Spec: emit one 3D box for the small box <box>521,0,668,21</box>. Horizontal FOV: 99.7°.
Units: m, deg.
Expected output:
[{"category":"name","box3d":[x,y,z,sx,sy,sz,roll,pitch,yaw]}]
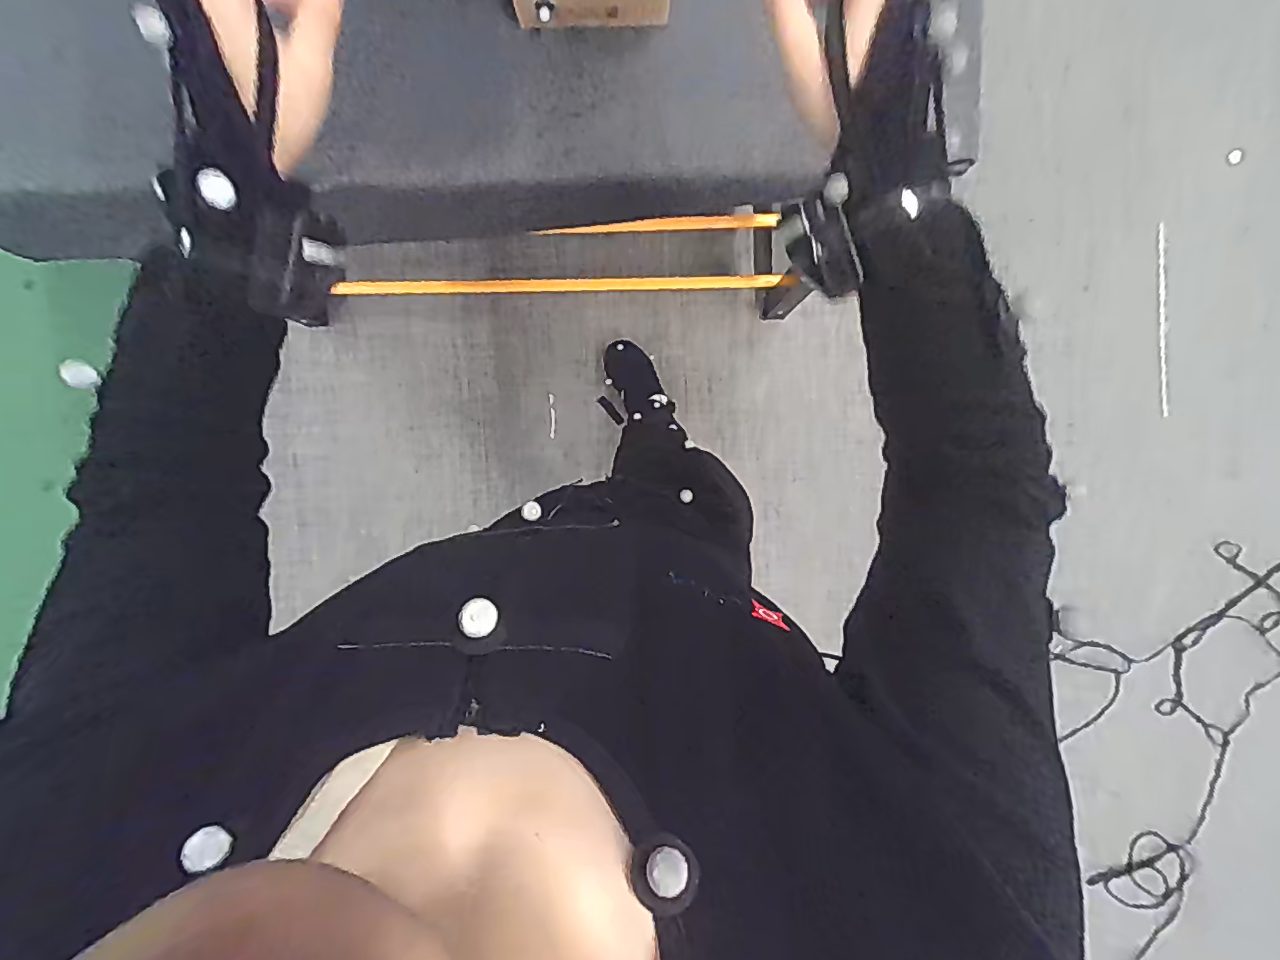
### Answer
[{"category":"small box","box3d":[-0.052,-0.583,0.511,0.168,0.176,0.179,-1,92,0]}]
